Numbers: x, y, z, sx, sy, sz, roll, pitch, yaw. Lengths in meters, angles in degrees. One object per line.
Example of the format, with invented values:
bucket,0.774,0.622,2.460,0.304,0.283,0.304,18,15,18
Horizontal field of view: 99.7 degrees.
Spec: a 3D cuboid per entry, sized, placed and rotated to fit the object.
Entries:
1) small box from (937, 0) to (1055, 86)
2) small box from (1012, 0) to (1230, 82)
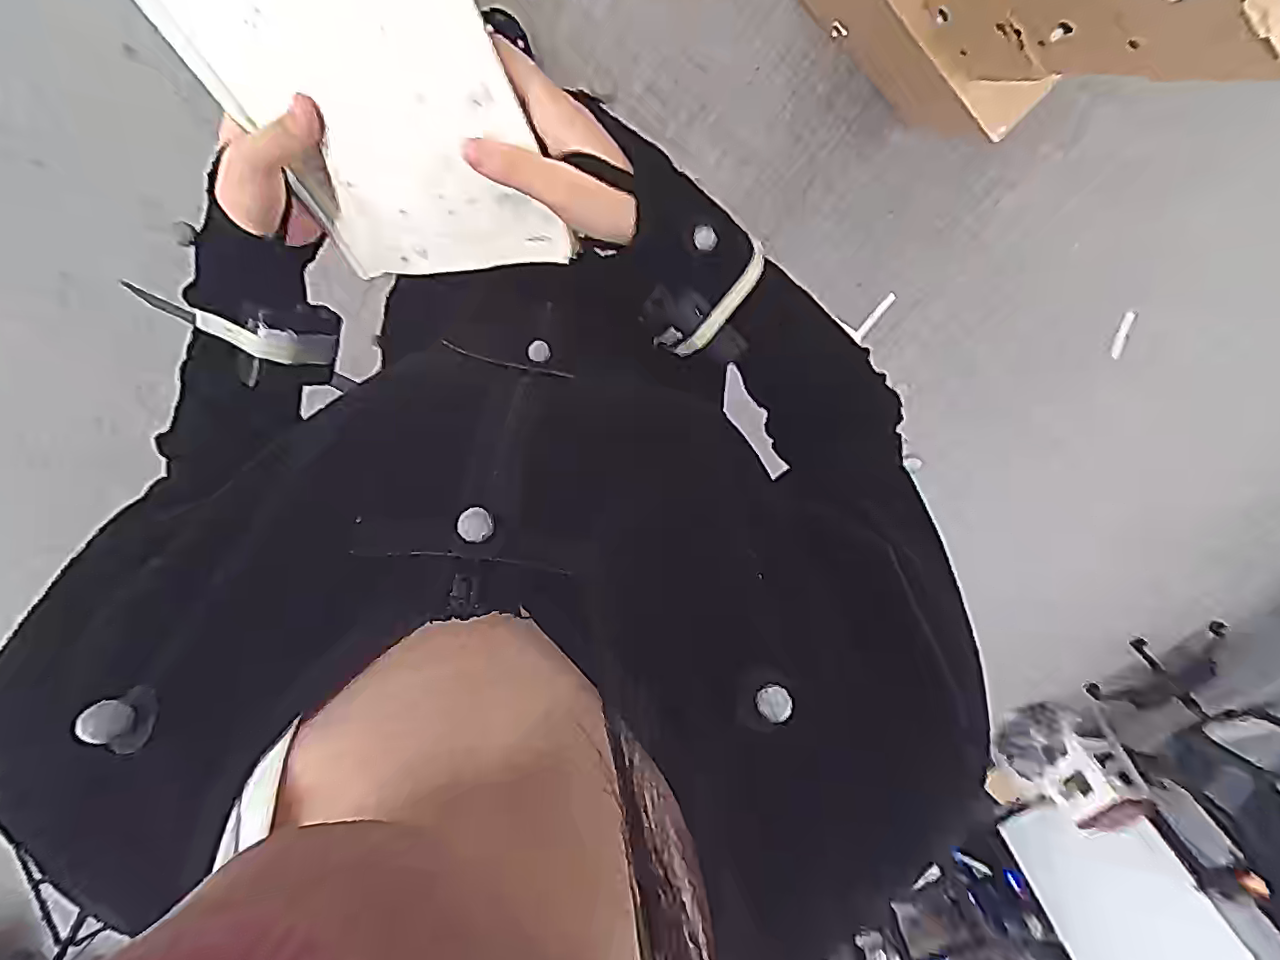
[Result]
small box,0.567,-0.711,0.778,0.168,0.176,0.179,31,117,-26
small box,0.589,-0.620,0.644,0.168,0.176,0.179,28,120,-25
